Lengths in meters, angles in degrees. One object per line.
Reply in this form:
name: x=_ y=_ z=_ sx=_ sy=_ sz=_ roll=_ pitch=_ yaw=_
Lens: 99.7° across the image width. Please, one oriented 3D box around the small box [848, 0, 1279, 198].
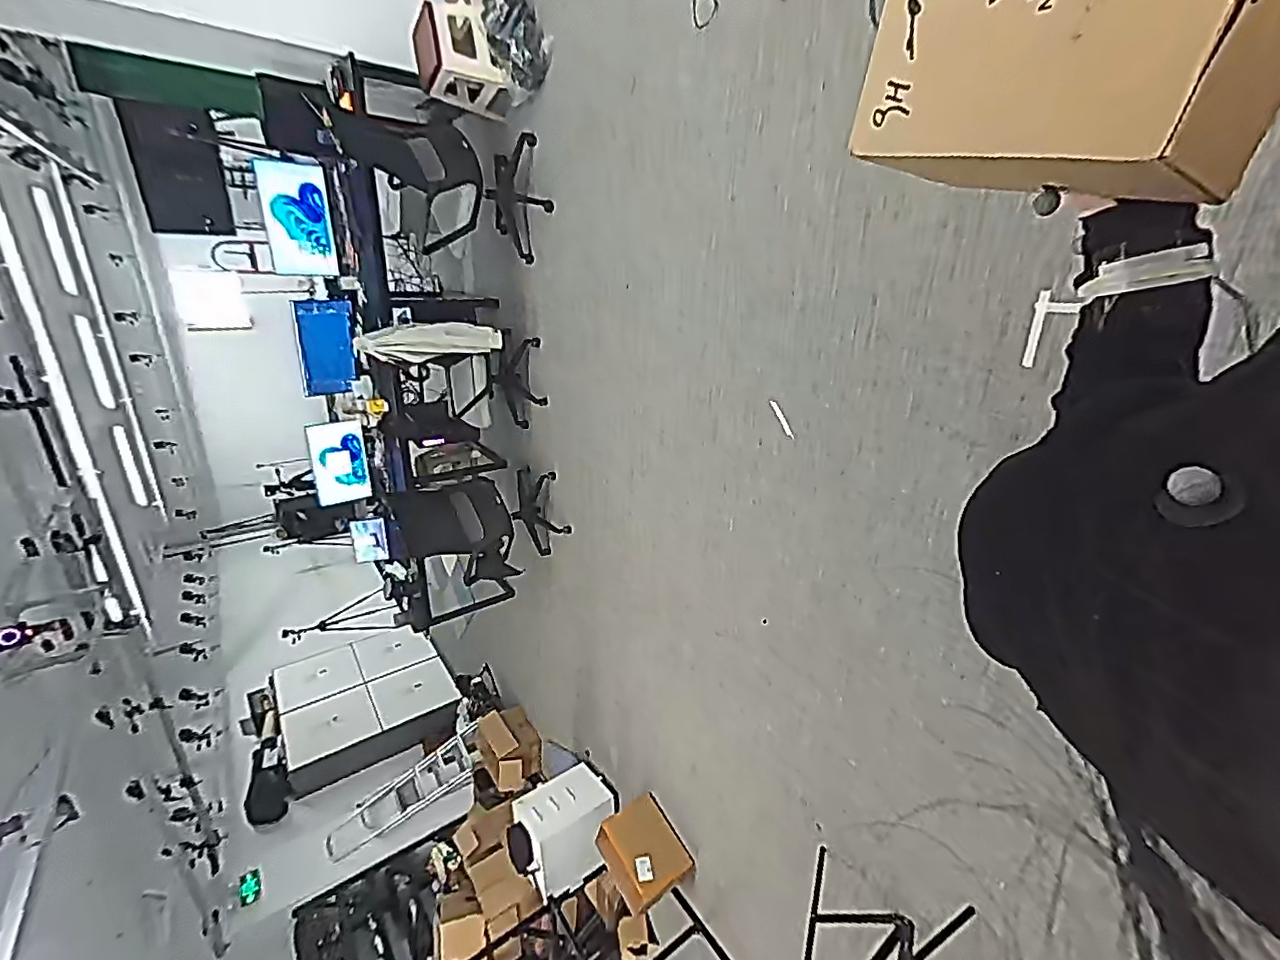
small box: x=0.265 y=-0.271 z=0.318 sx=0.179 sy=0.176 sz=0.168 roll=36 pitch=128 yaw=43
